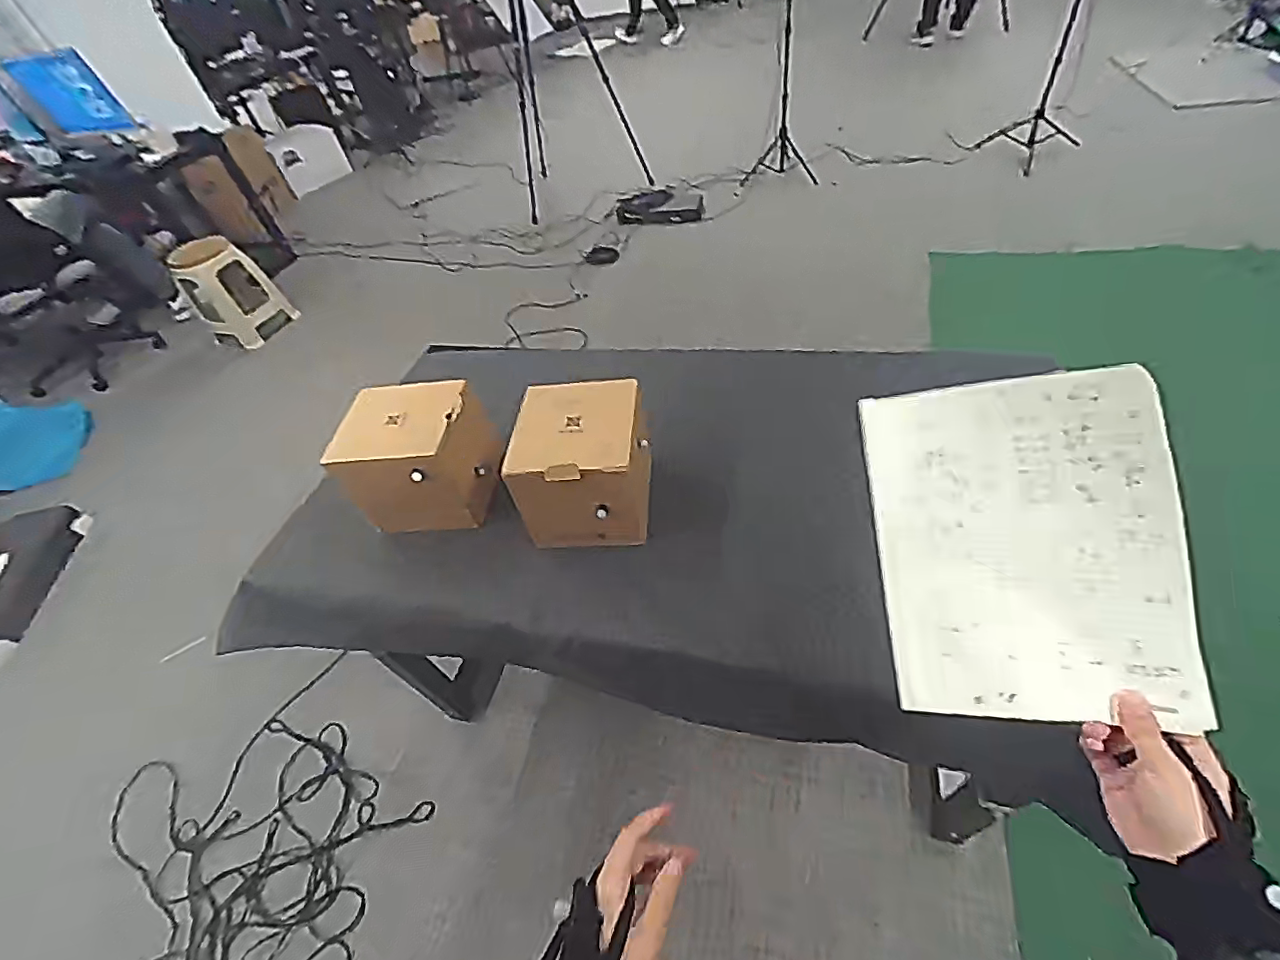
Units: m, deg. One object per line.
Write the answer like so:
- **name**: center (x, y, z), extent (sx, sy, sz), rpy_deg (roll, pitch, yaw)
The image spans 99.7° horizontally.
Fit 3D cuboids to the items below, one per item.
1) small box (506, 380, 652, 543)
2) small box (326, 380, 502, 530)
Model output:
- **small box**: center (-0.074, -0.021, 0.786), extent (0.168, 0.176, 0.179), rpy_deg (-2, 47, 8)
- **small box**: center (-0.339, -0.035, 0.851), extent (0.179, 0.176, 0.168), rpy_deg (-4, 48, 7)
